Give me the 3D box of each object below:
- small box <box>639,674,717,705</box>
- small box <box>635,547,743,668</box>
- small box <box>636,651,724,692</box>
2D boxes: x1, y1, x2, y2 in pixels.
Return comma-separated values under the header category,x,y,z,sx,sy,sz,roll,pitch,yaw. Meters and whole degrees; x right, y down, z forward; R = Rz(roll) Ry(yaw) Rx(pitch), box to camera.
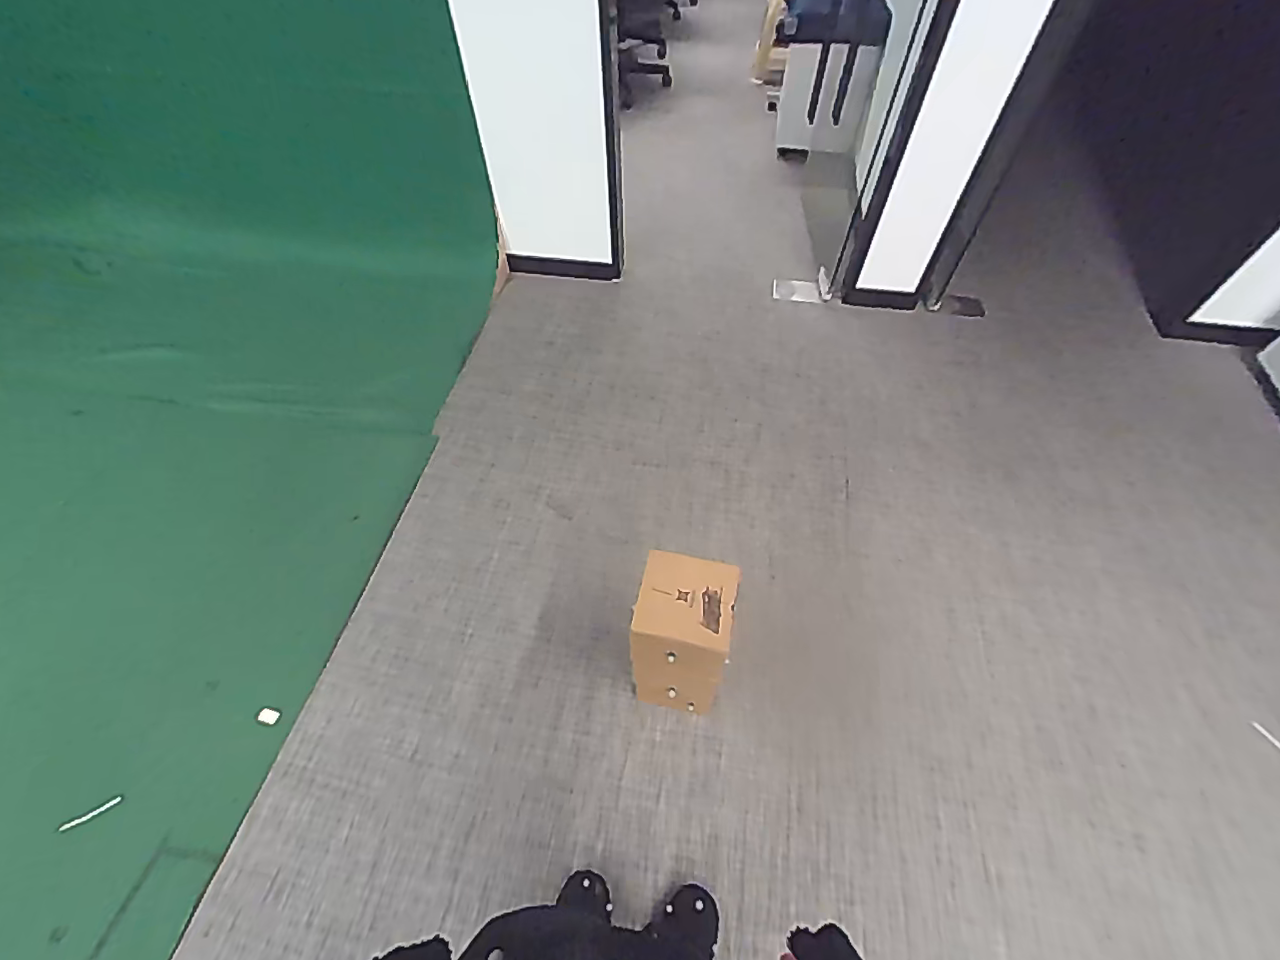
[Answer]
category,x,y,z,sx,sy,sz,roll,pitch,yaw
small box,0.100,0.433,1.313,0.179,0.176,0.168,8,56,8
small box,0.091,0.251,1.040,0.179,0.176,0.168,9,56,6
small box,0.096,0.345,1.174,0.179,0.176,0.168,13,57,9
